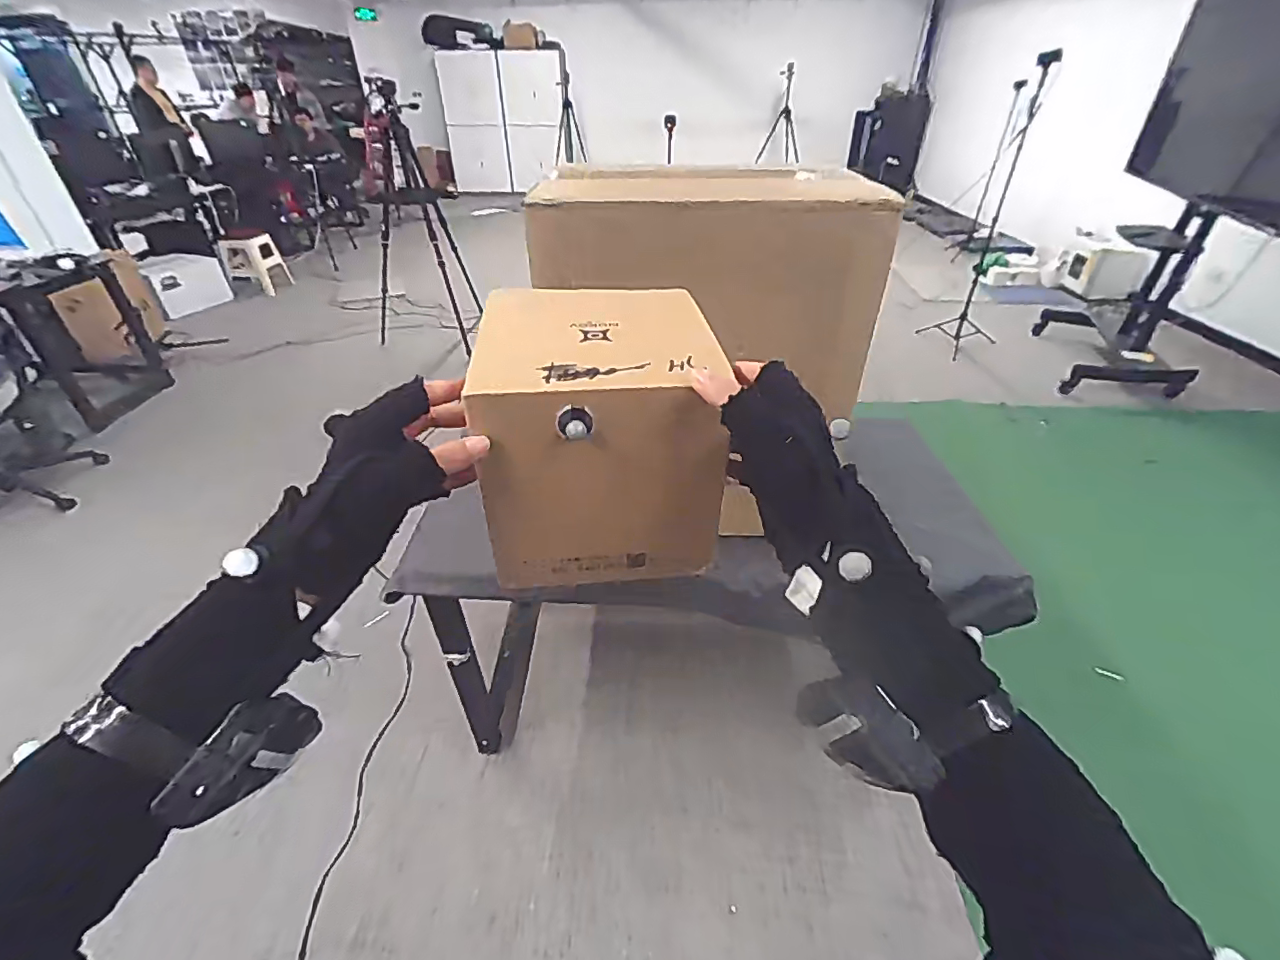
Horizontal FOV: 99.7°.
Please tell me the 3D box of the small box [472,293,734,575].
[{"bbox_3d":[-0.032,-0.044,0.446,0.168,0.176,0.179,-3,37,-6],"label":"small box"}]
